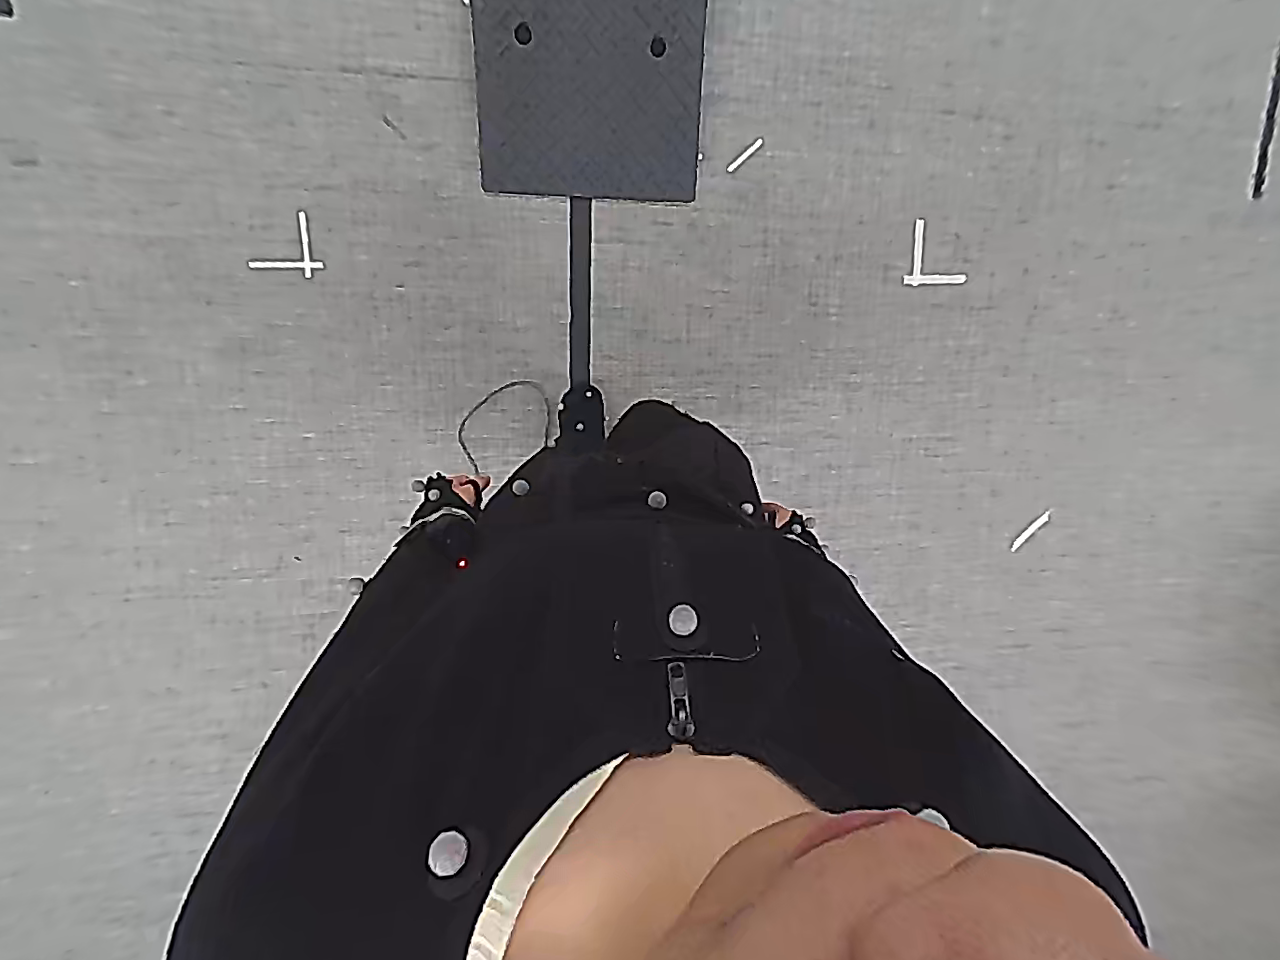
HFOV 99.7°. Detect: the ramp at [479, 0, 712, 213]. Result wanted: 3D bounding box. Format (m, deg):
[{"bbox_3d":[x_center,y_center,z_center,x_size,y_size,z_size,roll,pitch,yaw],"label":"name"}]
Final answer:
[{"bbox_3d":[-0.084,-1.099,1.097,0.509,0.206,0.991,-4,100,-8],"label":"ramp"}]
